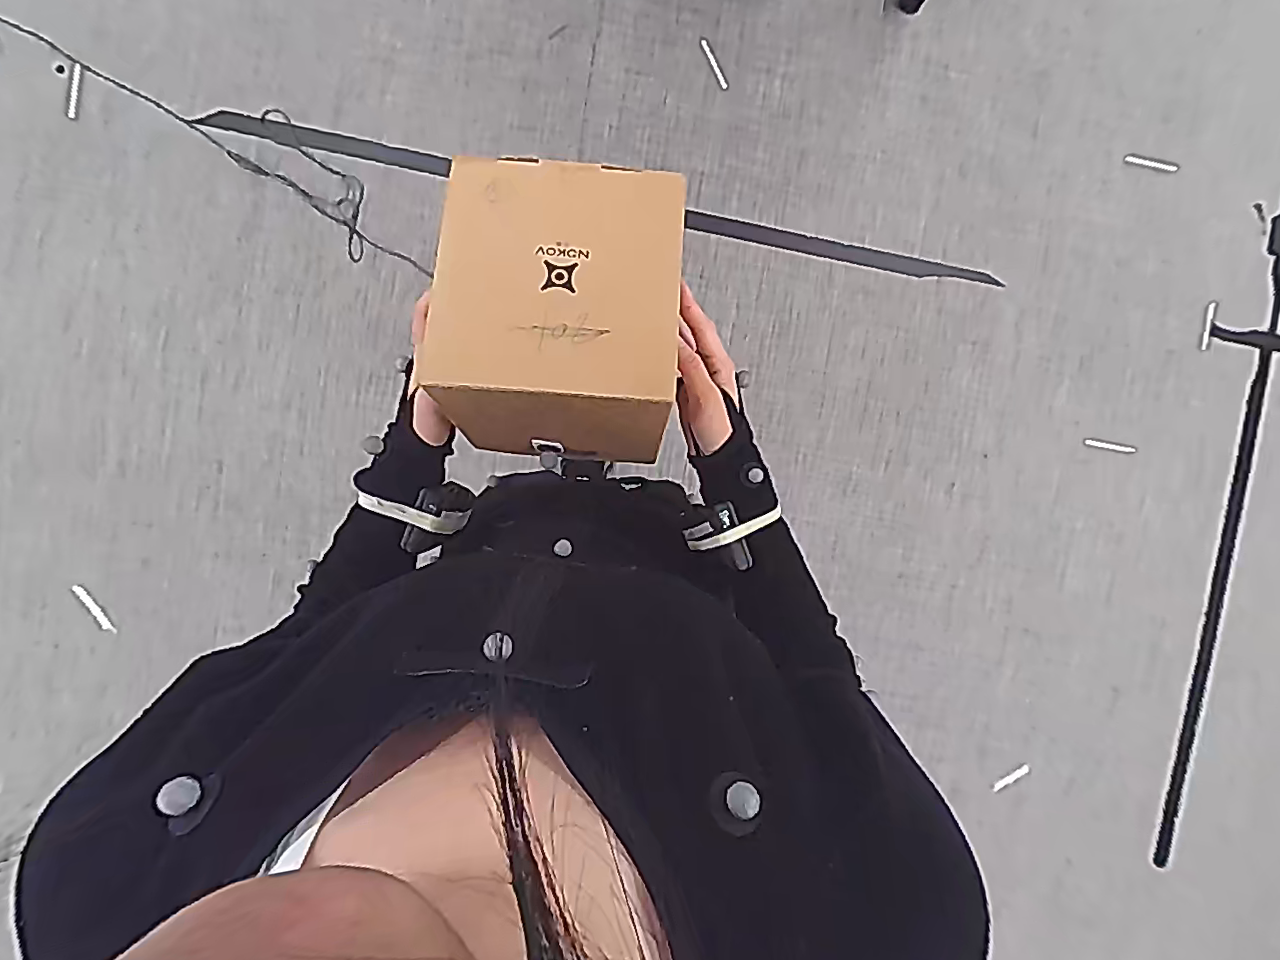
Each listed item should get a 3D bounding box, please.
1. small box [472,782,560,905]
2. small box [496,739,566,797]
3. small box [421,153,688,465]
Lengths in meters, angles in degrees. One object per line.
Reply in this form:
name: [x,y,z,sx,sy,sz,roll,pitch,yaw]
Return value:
small box: [-0.284,0.845,1.273,0.168,0.176,0.179,9,93,-4]
small box: [-0.296,0.827,1.436,0.168,0.176,0.179,12,92,-5]
small box: [-0.056,-0.121,0.439,0.168,0.176,0.179,3,78,-2]
